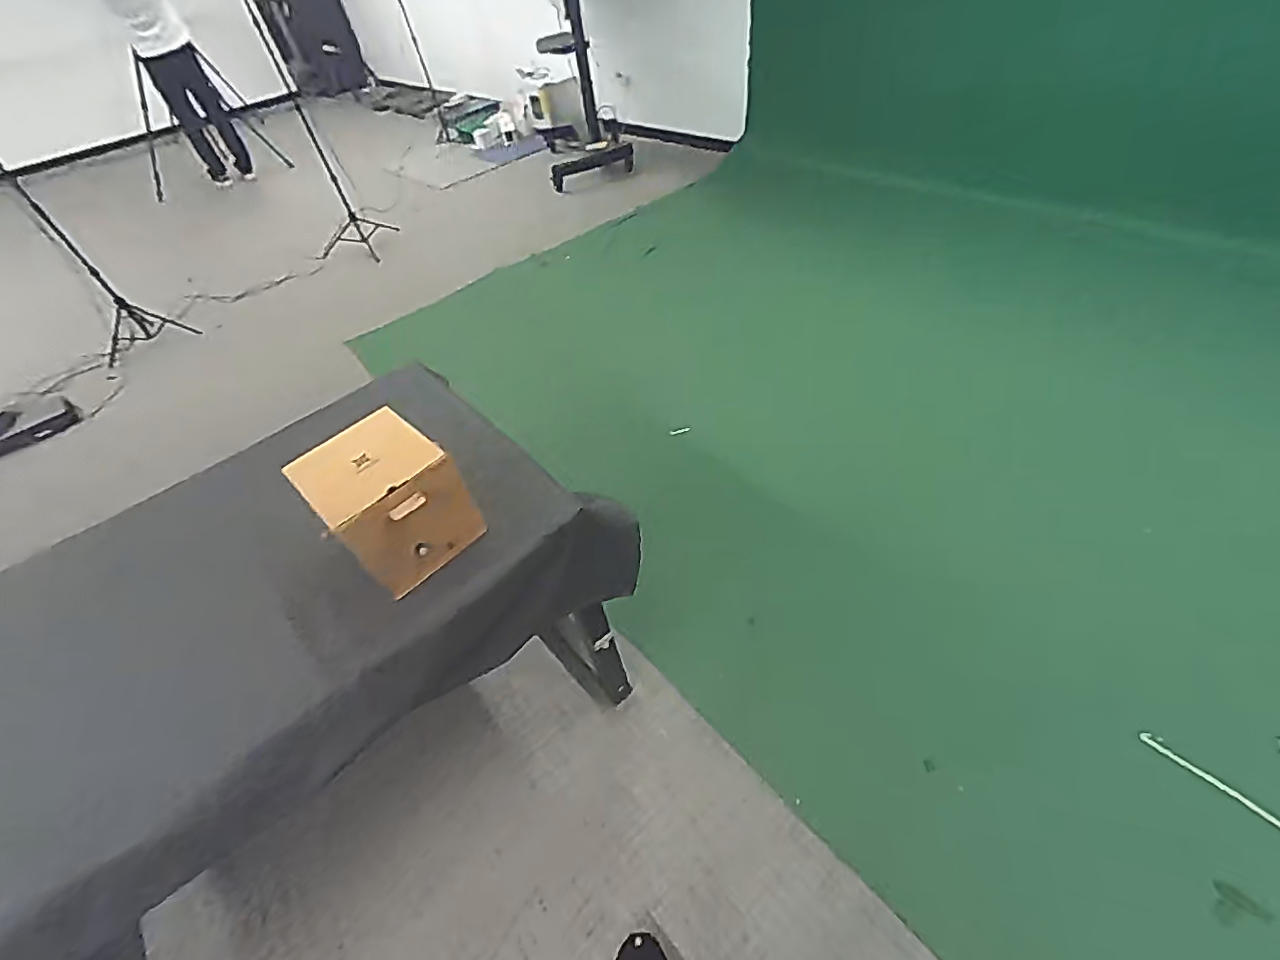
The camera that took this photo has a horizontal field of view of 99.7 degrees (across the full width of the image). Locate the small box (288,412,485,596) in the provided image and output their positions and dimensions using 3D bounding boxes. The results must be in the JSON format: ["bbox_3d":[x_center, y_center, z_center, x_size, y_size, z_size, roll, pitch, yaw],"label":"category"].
[{"bbox_3d":[-0.358,0.035,0.787,0.179,0.176,0.168,31,59,32],"label":"small box"}]
